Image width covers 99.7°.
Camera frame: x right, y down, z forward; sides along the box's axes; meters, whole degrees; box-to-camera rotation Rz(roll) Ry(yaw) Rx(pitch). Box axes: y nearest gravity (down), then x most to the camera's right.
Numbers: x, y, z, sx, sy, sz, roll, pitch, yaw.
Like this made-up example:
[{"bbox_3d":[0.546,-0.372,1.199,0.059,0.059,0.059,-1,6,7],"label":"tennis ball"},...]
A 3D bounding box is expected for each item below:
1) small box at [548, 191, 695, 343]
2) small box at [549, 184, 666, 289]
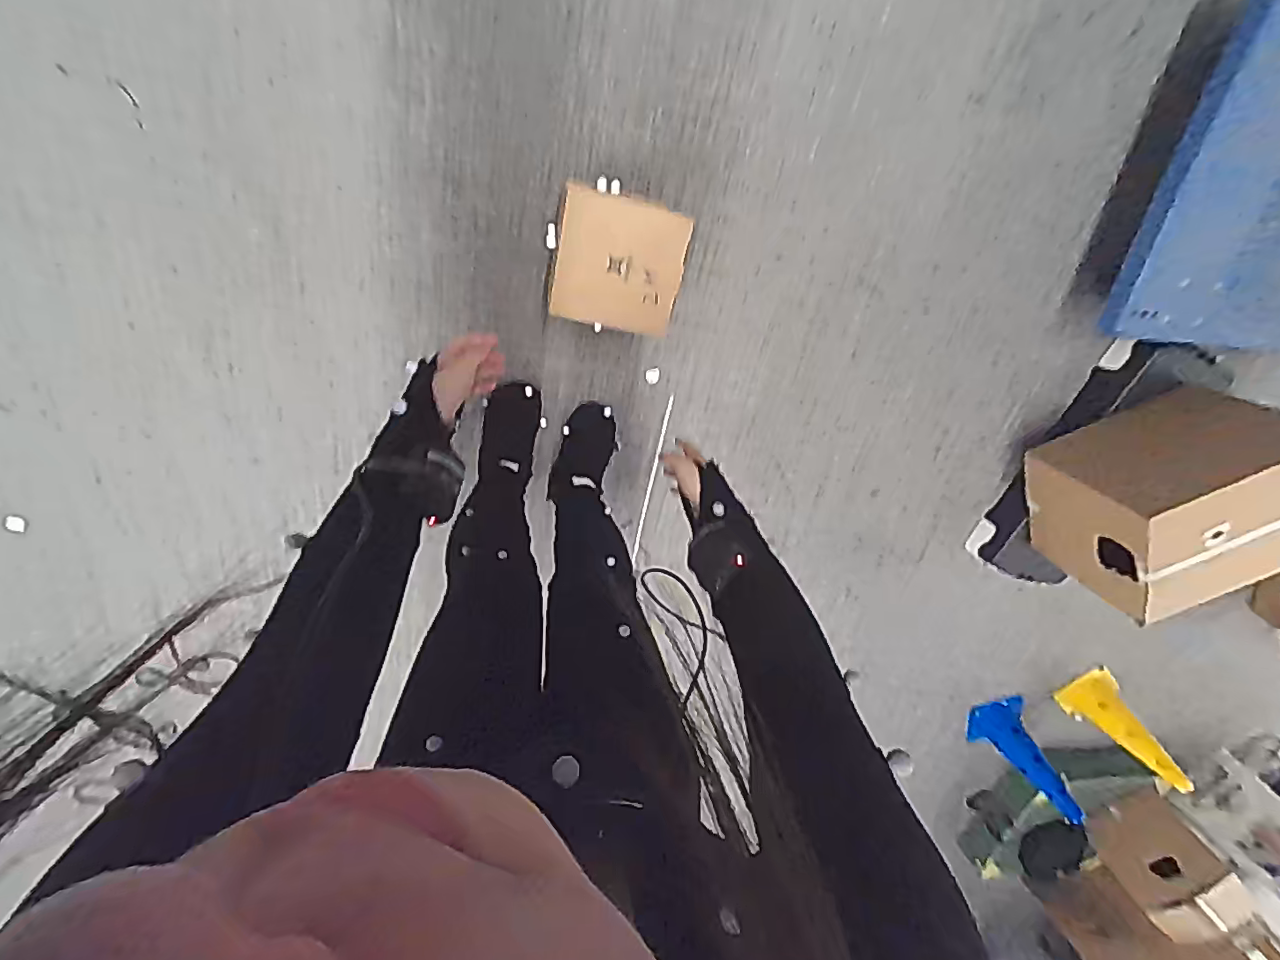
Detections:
[{"bbox_3d":[-0.039,-0.322,0.813,0.179,0.176,0.168,8,116,-14],"label":"small box"},{"bbox_3d":[-0.065,-0.403,0.954,0.168,0.176,0.179,8,115,-14],"label":"small box"}]
